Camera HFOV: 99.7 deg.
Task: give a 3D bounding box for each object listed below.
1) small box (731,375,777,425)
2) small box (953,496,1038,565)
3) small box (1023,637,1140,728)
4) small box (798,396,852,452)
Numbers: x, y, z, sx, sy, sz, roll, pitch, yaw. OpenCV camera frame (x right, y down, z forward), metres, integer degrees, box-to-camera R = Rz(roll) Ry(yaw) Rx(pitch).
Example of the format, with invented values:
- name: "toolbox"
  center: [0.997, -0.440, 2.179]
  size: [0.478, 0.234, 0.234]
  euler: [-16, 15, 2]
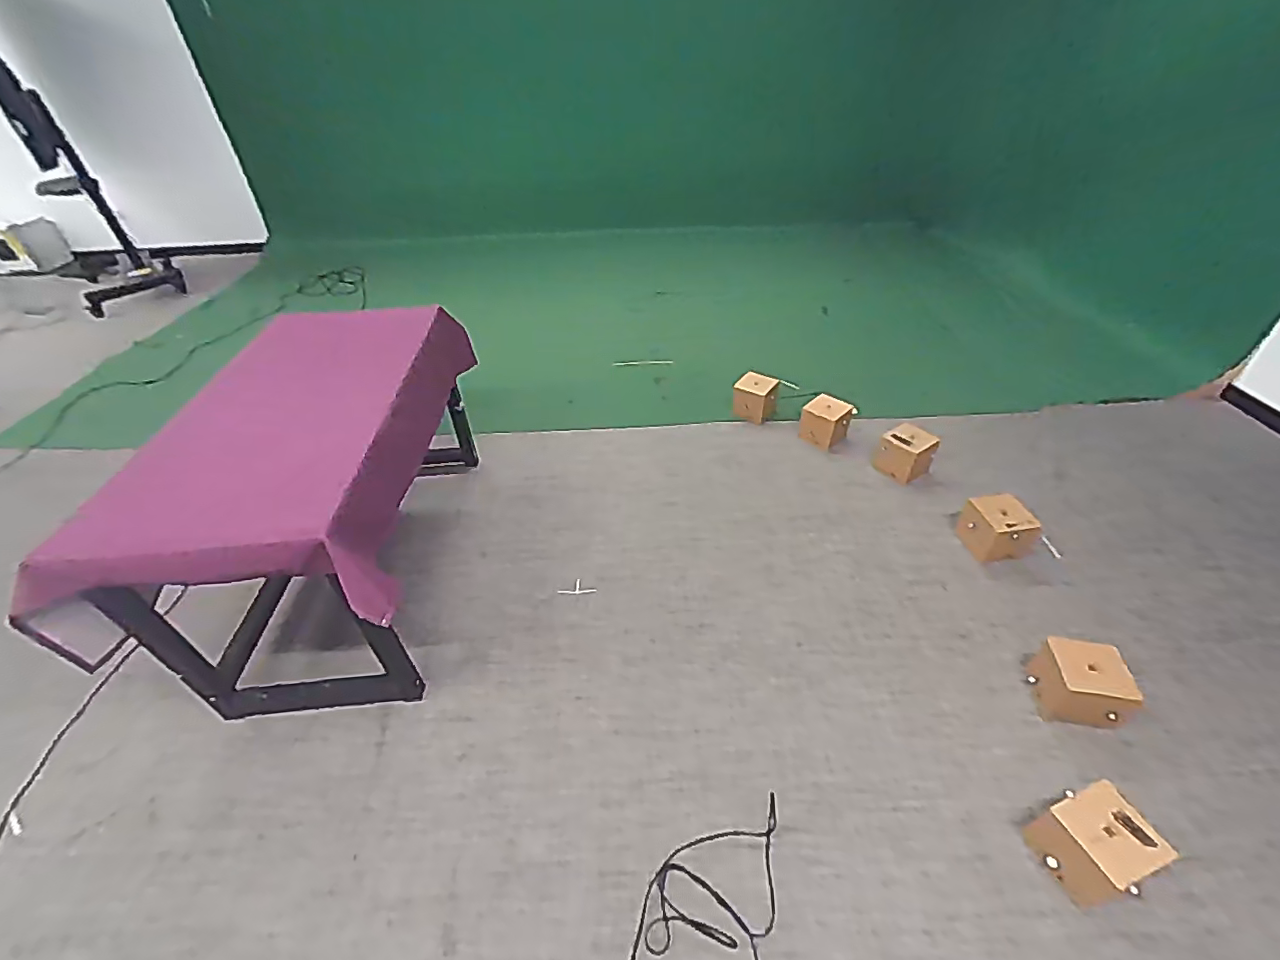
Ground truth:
- name: "small box"
  center: [0.565, -0.395, 2.687]
  size: [0.168, 0.176, 0.179]
  euler: [24, 46, 27]
- name: "small box"
  center: [1.281, 0.182, 1.963]
  size: [0.168, 0.176, 0.179]
  euler: [-7, 39, -5]
- name: "small box"
  center: [1.219, 0.568, 1.509]
  size: [0.179, 0.176, 0.168]
  euler: [6, 40, 10]
- name: "small box"
  center: [0.854, -0.259, 2.515]
  size: [0.168, 0.176, 0.179]
  euler: [32, 51, 34]
